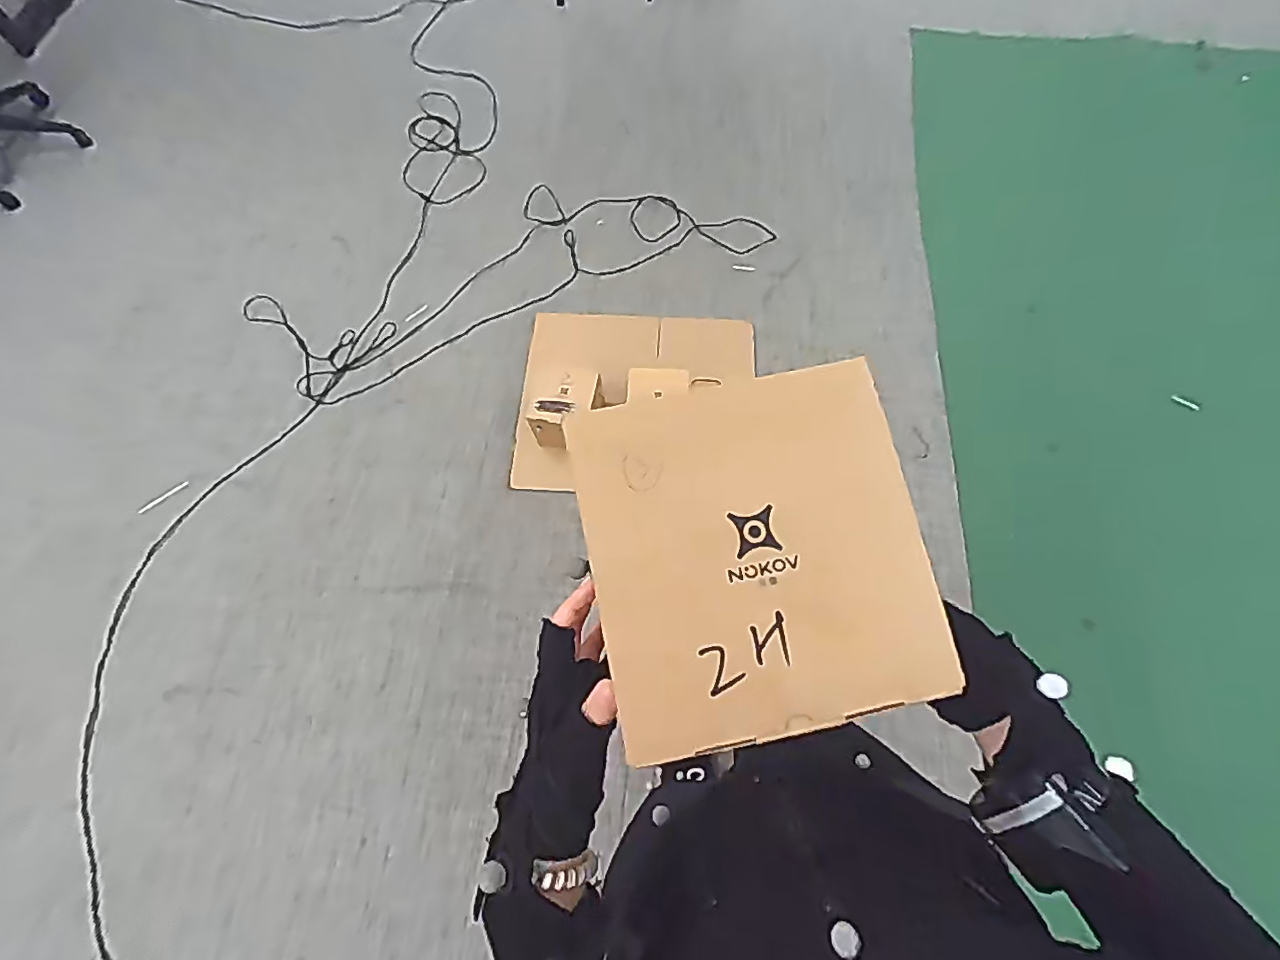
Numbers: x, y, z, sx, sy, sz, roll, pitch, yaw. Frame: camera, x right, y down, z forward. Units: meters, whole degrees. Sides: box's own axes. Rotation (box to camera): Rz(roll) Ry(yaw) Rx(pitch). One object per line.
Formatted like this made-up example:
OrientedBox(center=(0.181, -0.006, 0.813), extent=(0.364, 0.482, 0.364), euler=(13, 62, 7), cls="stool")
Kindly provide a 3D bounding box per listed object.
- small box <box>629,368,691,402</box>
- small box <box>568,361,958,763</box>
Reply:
OrientedBox(center=(0.051, -0.191, 1.503), extent=(0.168, 0.176, 0.179), euler=(2, 69, 1), cls="small box")
OrientedBox(center=(0.055, 0.049, 0.348), extent=(0.168, 0.176, 0.179), euler=(-12, 80, -3), cls="small box")
